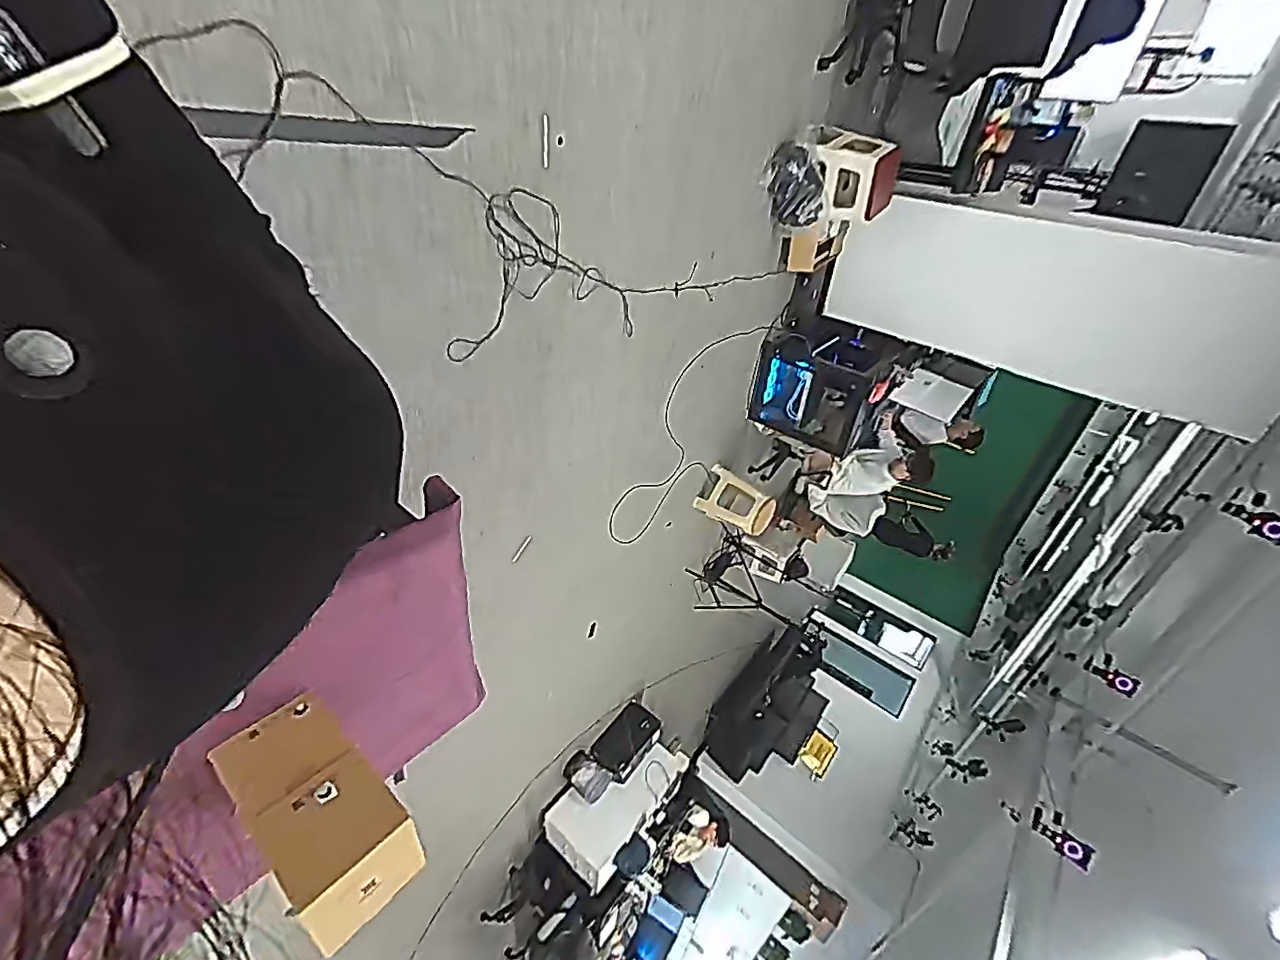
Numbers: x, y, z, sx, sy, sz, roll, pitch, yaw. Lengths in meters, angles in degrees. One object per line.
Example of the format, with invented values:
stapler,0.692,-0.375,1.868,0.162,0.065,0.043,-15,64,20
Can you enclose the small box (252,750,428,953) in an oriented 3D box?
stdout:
small box,-0.460,0.566,0.843,0.168,0.176,0.179,-33,139,-42

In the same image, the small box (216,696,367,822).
small box,-0.585,0.507,0.930,0.168,0.176,0.179,-31,140,-42
